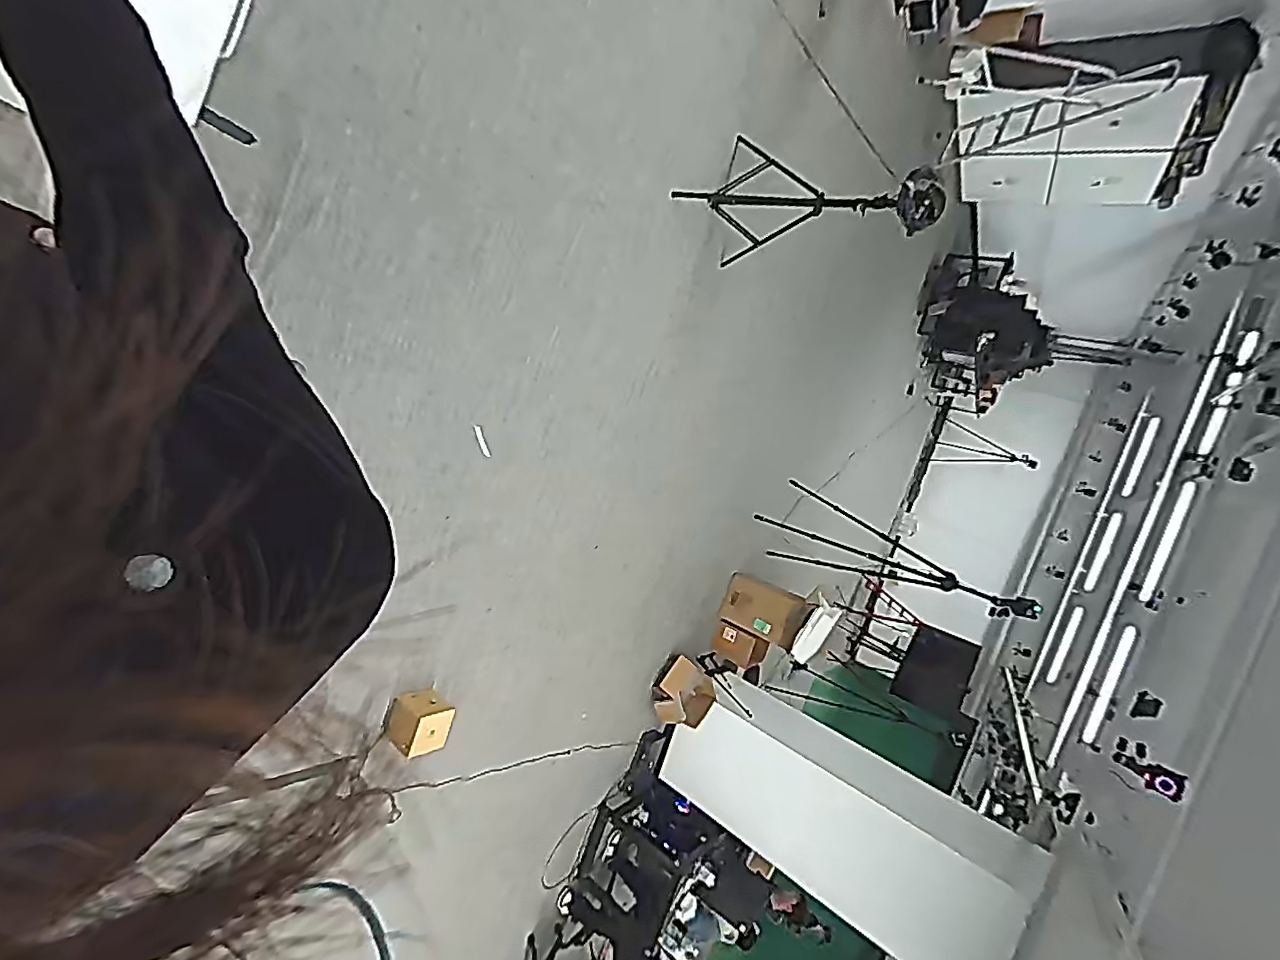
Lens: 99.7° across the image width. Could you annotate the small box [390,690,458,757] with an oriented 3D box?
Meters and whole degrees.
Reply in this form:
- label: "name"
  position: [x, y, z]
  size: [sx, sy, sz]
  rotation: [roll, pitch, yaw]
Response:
- label: "small box"
  position: [-0.867, 0.960, 2.159]
  size: [0.168, 0.176, 0.179]
  rotation: [13, 98, -56]
